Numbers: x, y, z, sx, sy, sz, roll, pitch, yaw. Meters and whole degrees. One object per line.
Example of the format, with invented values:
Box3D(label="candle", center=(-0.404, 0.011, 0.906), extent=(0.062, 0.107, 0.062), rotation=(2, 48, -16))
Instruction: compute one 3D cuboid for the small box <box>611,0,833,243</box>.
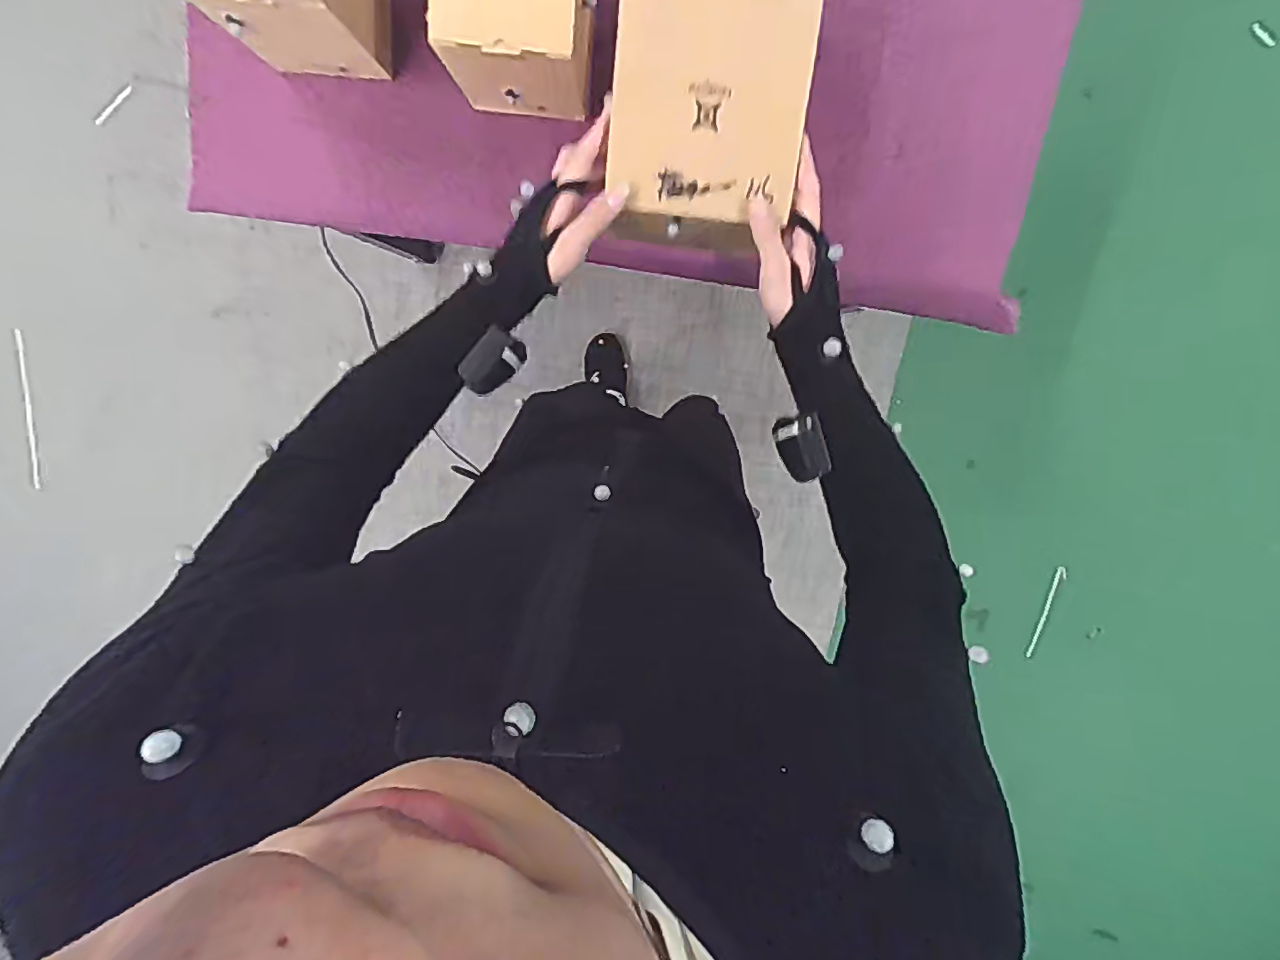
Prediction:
Box3D(label="small box", center=(0.064, -0.346, 0.525), extent=(0.168, 0.176, 0.179), rotation=(7, 105, -2))

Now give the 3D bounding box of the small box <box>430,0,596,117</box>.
Box3D(label="small box", center=(-0.147, -0.590, 0.670), extent=(0.168, 0.176, 0.179), rotation=(6, 104, -1))
